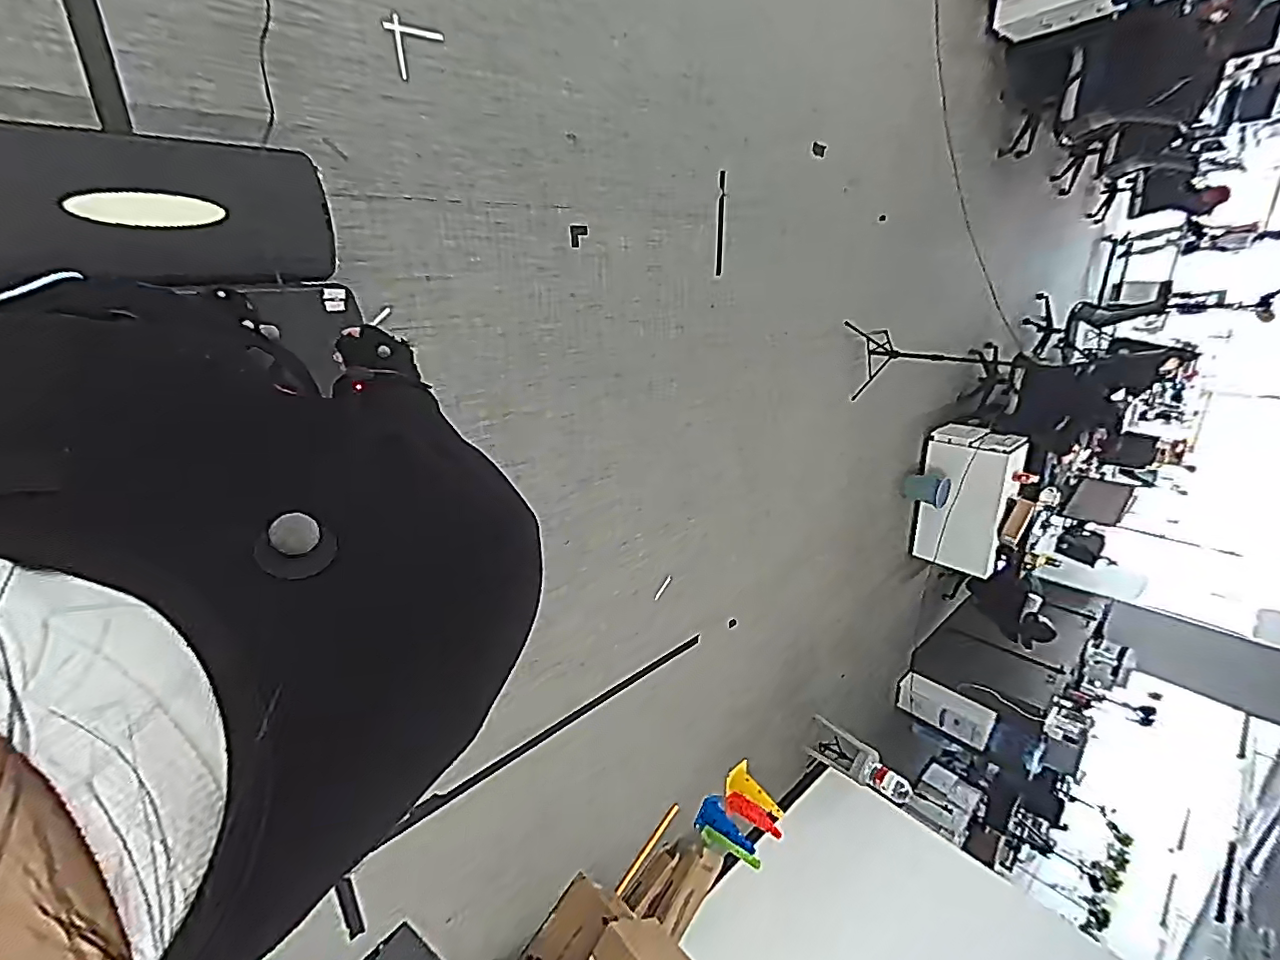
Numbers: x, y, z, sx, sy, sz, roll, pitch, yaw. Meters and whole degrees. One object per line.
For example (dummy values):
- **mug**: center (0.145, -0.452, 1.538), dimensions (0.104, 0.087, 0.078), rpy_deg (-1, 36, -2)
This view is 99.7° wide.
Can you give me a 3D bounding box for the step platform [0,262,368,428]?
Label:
- **step platform**: center (-0.976, -0.316, 1.178), dimensions (0.684, 0.204, 0.286), rpy_deg (-19, 116, -36)
